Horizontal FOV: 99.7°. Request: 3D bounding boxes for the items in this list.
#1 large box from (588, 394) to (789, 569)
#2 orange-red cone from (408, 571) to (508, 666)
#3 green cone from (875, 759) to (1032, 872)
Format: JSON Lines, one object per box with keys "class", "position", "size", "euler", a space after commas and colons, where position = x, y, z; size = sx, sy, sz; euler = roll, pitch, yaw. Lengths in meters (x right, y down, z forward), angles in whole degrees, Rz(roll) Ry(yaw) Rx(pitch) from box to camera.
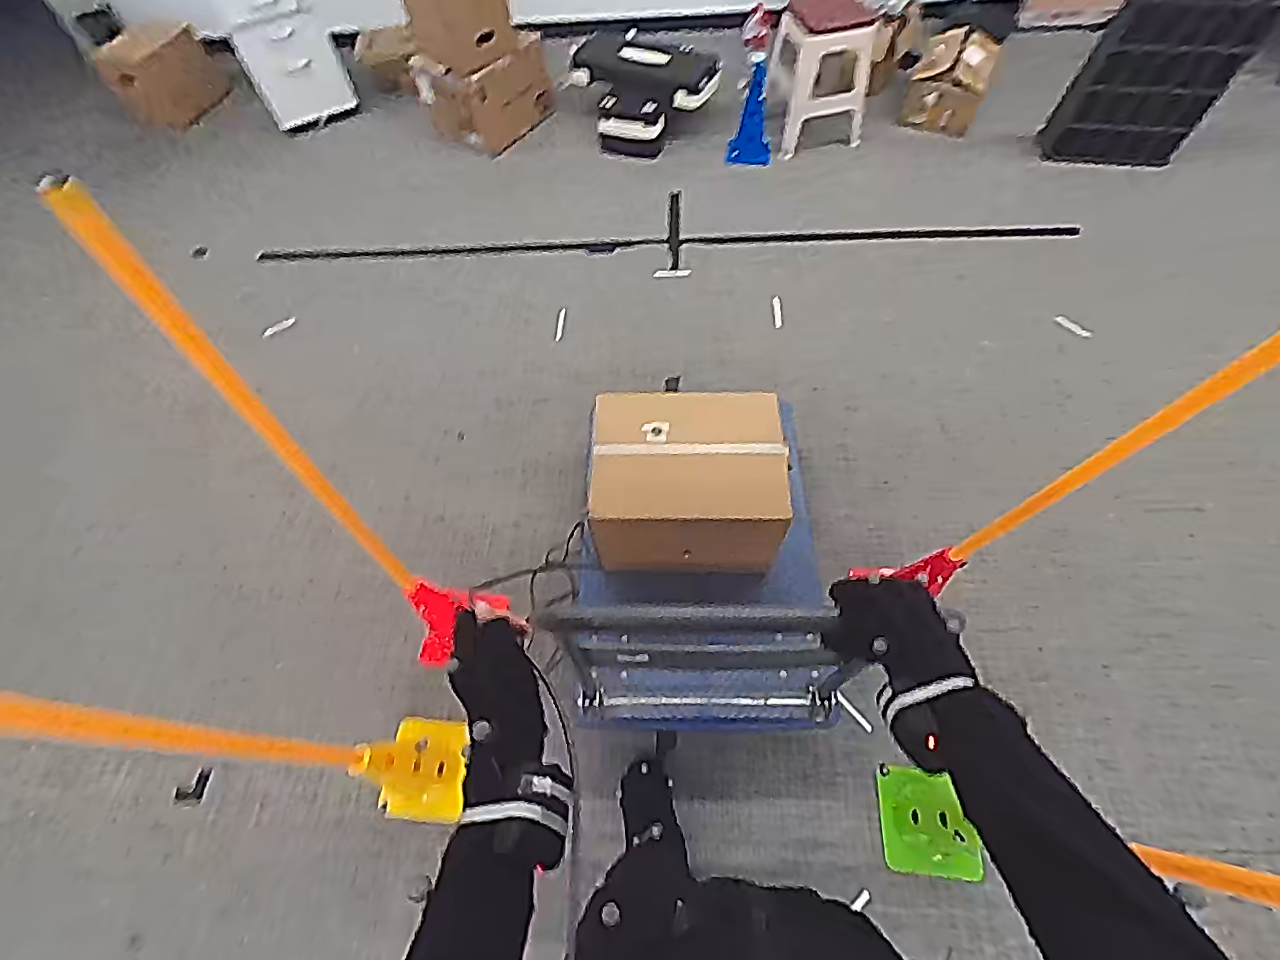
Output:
{"class": "large box", "position": [0.106, 0.017, 1.266], "size": [0.408, 0.320, 0.320], "euler": [0, 61, 3]}
{"class": "orange-red cone", "position": [-0.473, 0.298, 1.302], "size": [0.198, 0.360, 0.199], "euler": [7, 59, 6]}
{"class": "green cone", "position": [0.623, 0.648, 1.041], "size": [0.202, 0.368, 0.200], "euler": [4, 60, 4]}
